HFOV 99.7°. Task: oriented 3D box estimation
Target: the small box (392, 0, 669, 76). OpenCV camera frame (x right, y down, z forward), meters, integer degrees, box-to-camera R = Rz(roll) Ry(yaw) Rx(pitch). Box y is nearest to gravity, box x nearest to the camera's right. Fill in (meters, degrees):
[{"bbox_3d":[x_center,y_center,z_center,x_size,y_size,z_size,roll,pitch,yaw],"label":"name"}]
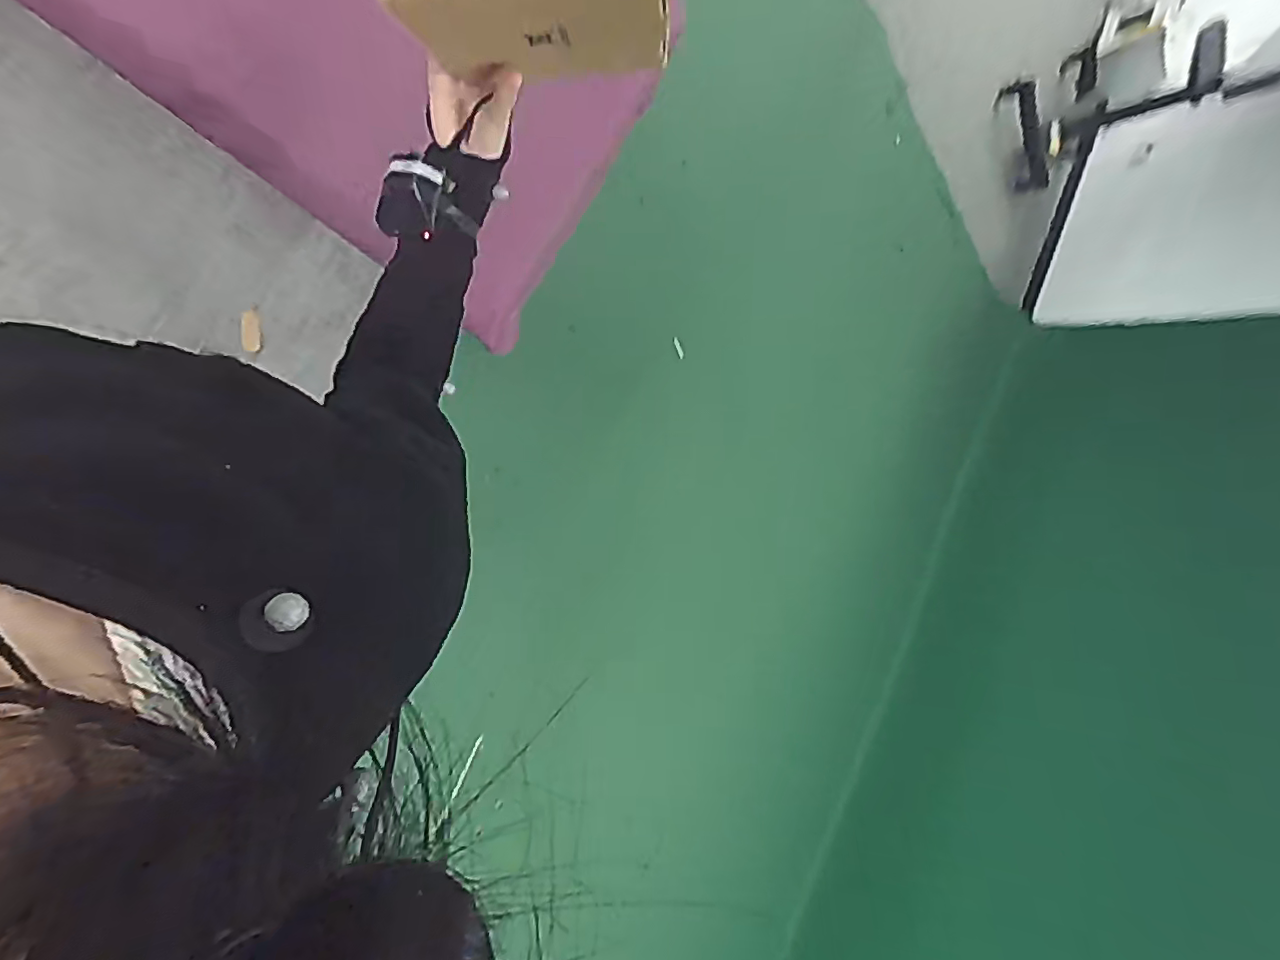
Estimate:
[{"bbox_3d":[-0.070,-0.394,0.350,0.179,0.168,0.176,-2,112,4],"label":"small box"}]
